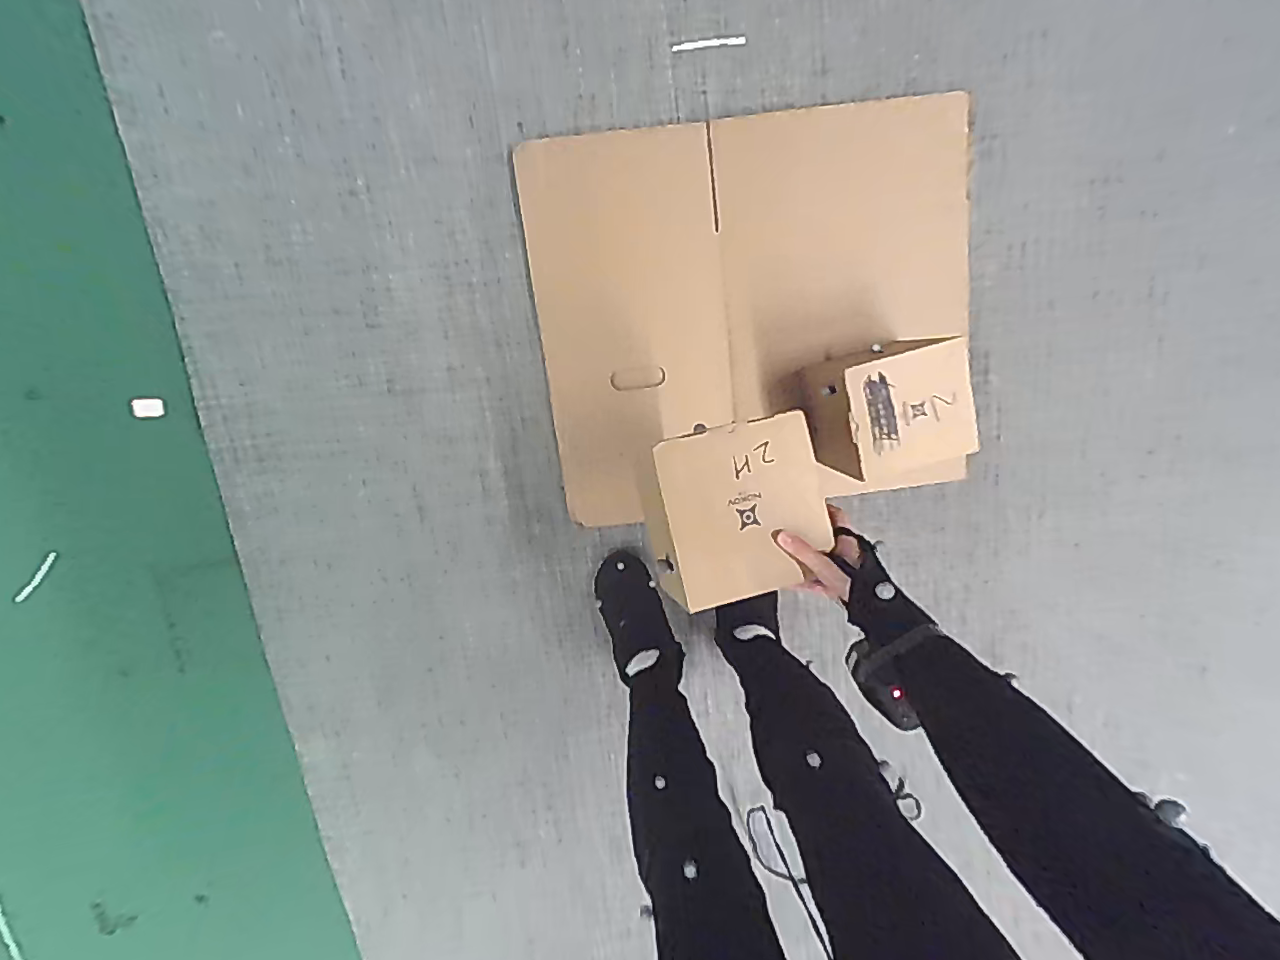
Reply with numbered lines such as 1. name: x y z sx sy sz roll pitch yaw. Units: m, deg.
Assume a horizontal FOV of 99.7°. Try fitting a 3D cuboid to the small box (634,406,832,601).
1. small box: 0.095 0.023 0.628 0.168 0.176 0.179 -12 90 -8
